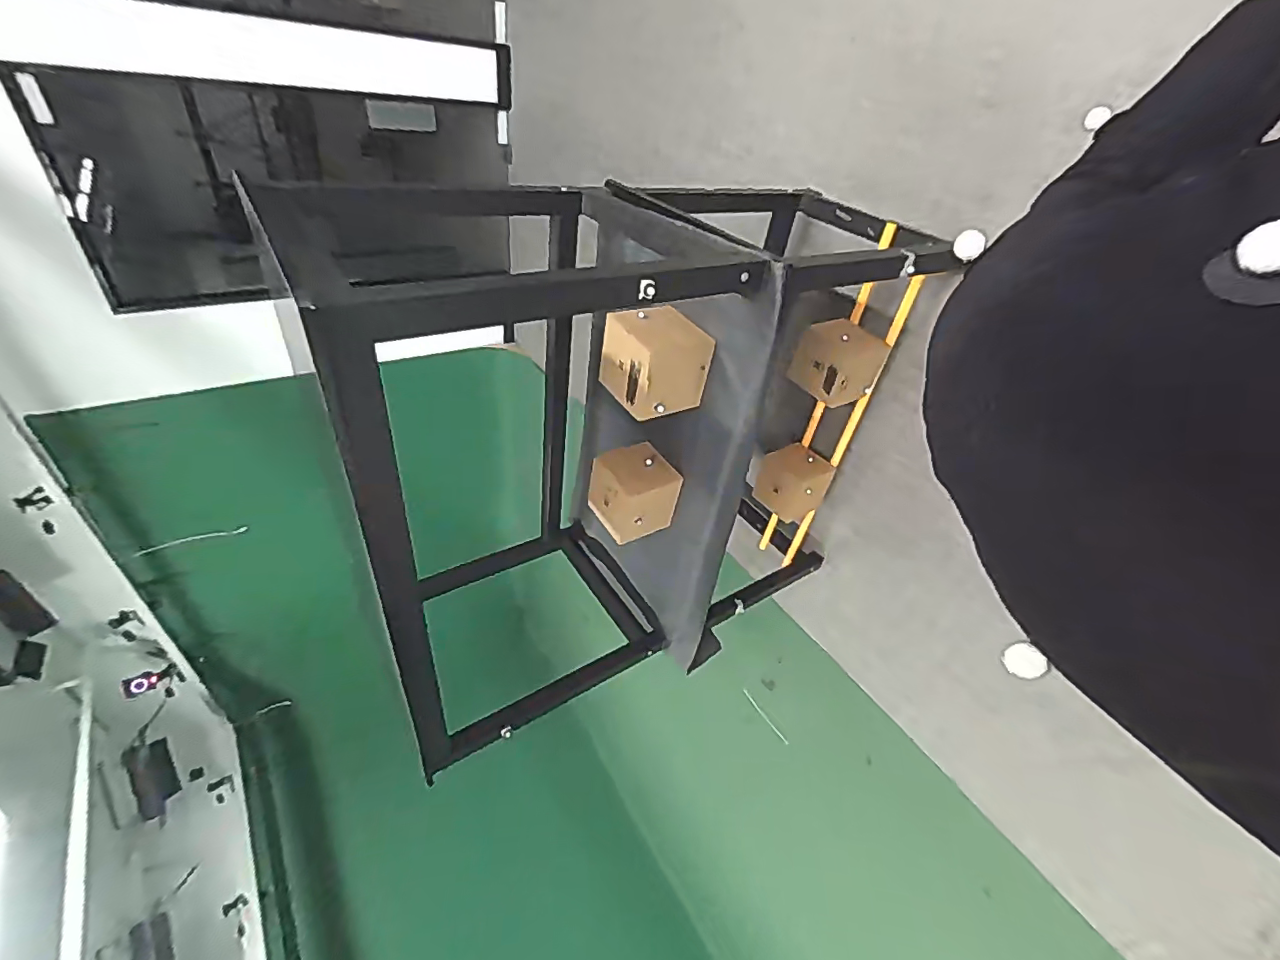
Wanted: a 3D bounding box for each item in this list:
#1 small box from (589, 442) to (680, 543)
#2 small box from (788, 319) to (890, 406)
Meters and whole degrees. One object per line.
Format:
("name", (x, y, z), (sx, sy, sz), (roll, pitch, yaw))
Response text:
("small box", (-0.015, 0.028, 1.405), (0.168, 0.176, 0.179), (48, 143, 34))
("small box", (0.558, -0.336, 1.513), (0.179, 0.176, 0.168), (48, 142, 33))
